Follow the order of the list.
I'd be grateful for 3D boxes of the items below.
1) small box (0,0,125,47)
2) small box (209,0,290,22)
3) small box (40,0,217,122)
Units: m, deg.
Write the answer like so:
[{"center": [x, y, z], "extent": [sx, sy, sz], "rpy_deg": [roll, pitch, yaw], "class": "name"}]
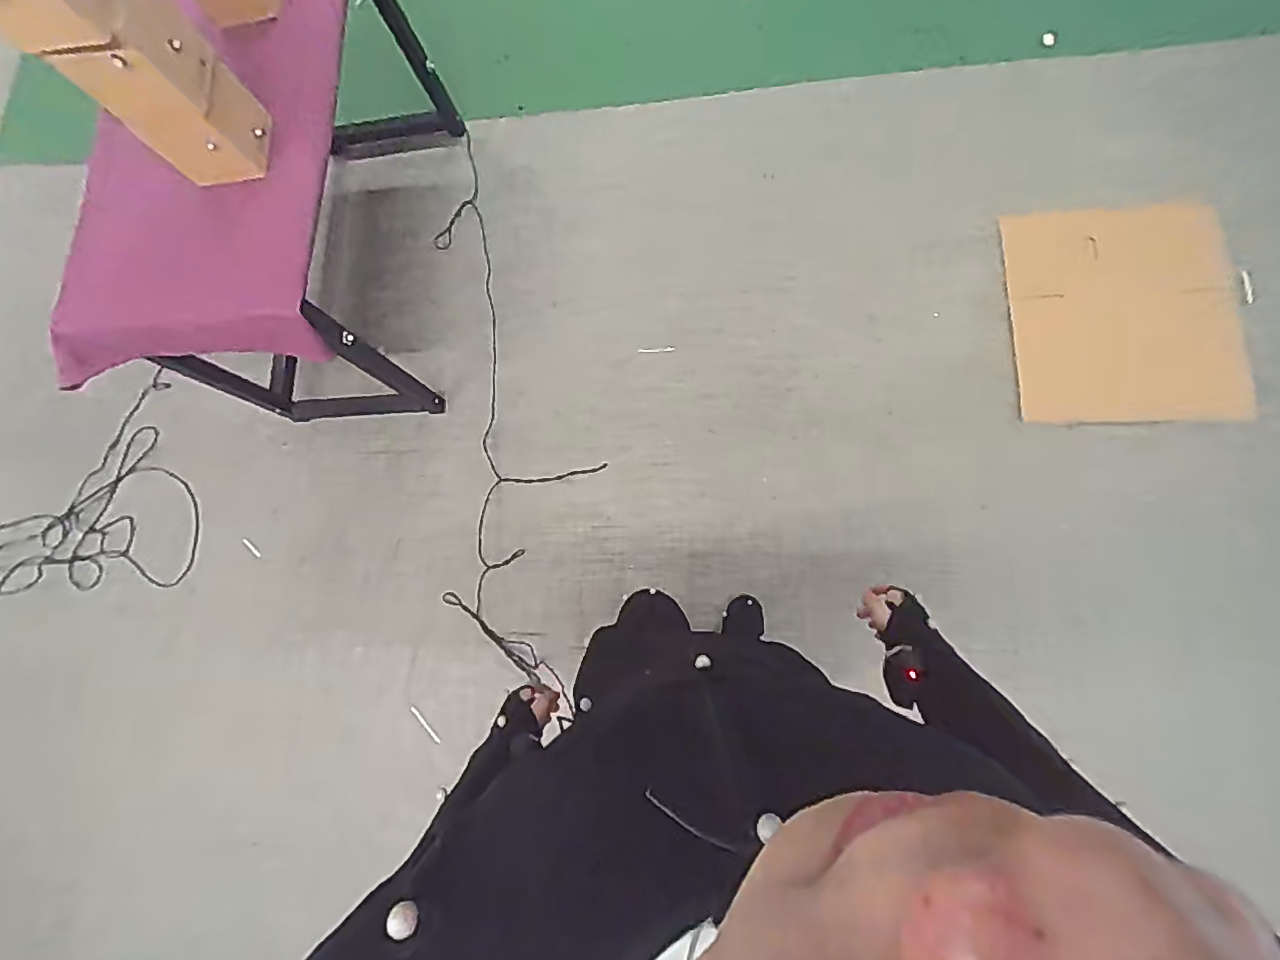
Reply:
[{"center": [-0.988, -0.844, 0.870], "extent": [0.179, 0.176, 0.168], "rpy_deg": [0, 79, 8], "class": "small box"}, {"center": [-0.968, -1.242, 1.288], "extent": [0.179, 0.176, 0.168], "rpy_deg": [0, 80, 9], "class": "small box"}, {"center": [-0.961, -0.827, 1.032], "extent": [0.179, 0.176, 0.168], "rpy_deg": [-4, 77, 7], "class": "small box"}]
